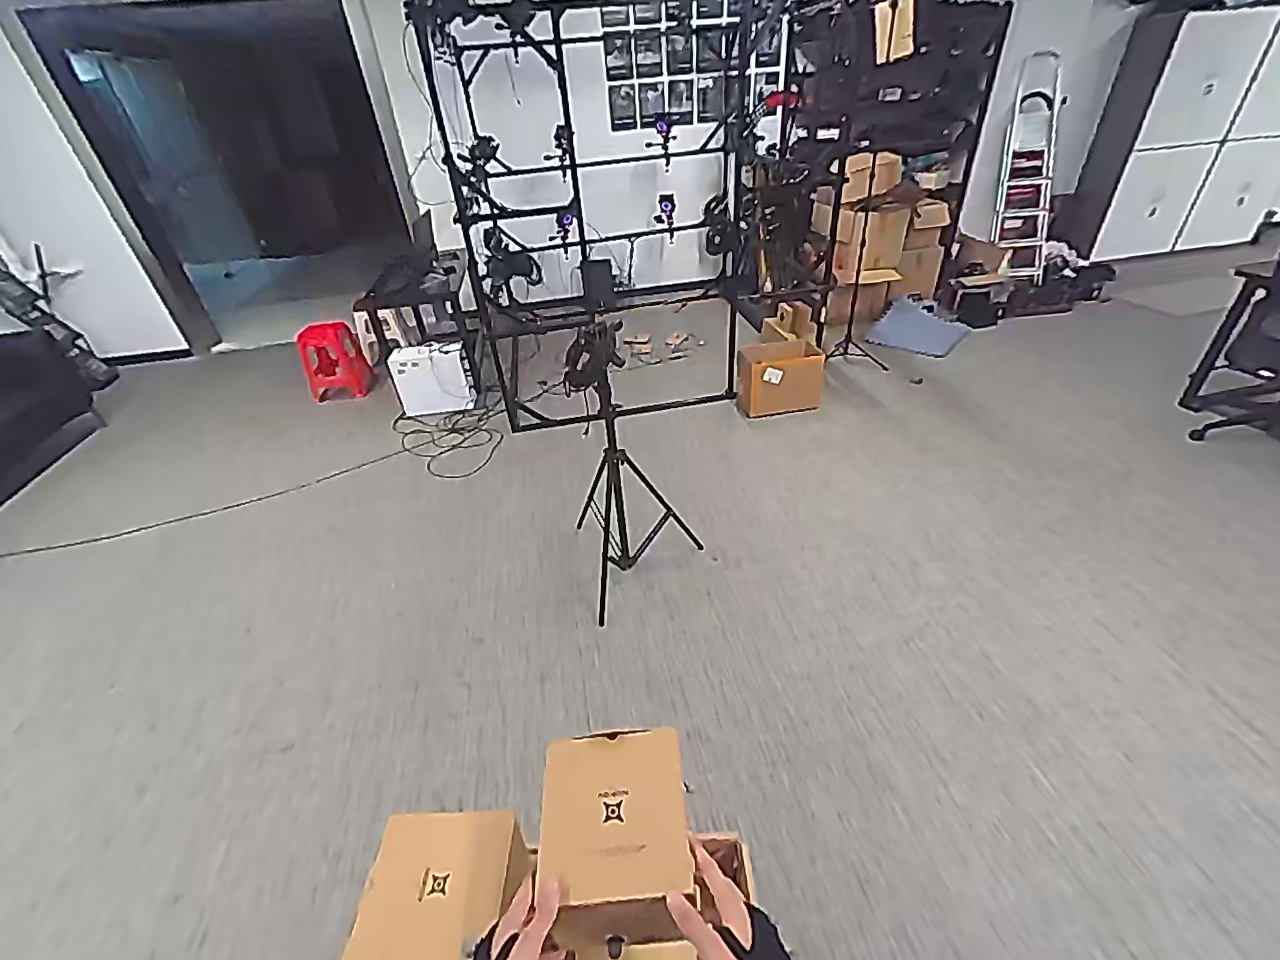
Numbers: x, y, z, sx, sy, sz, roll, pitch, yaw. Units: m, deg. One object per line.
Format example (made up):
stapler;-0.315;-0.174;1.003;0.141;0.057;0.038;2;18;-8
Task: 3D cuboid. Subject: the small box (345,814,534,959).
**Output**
small box;-0.243;0.564;0.707;0.179;0.176;0.168;-3;34;1

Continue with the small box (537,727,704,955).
small box;-0.017;0.431;0.653;0.168;0.176;0.179;-7;36;2
